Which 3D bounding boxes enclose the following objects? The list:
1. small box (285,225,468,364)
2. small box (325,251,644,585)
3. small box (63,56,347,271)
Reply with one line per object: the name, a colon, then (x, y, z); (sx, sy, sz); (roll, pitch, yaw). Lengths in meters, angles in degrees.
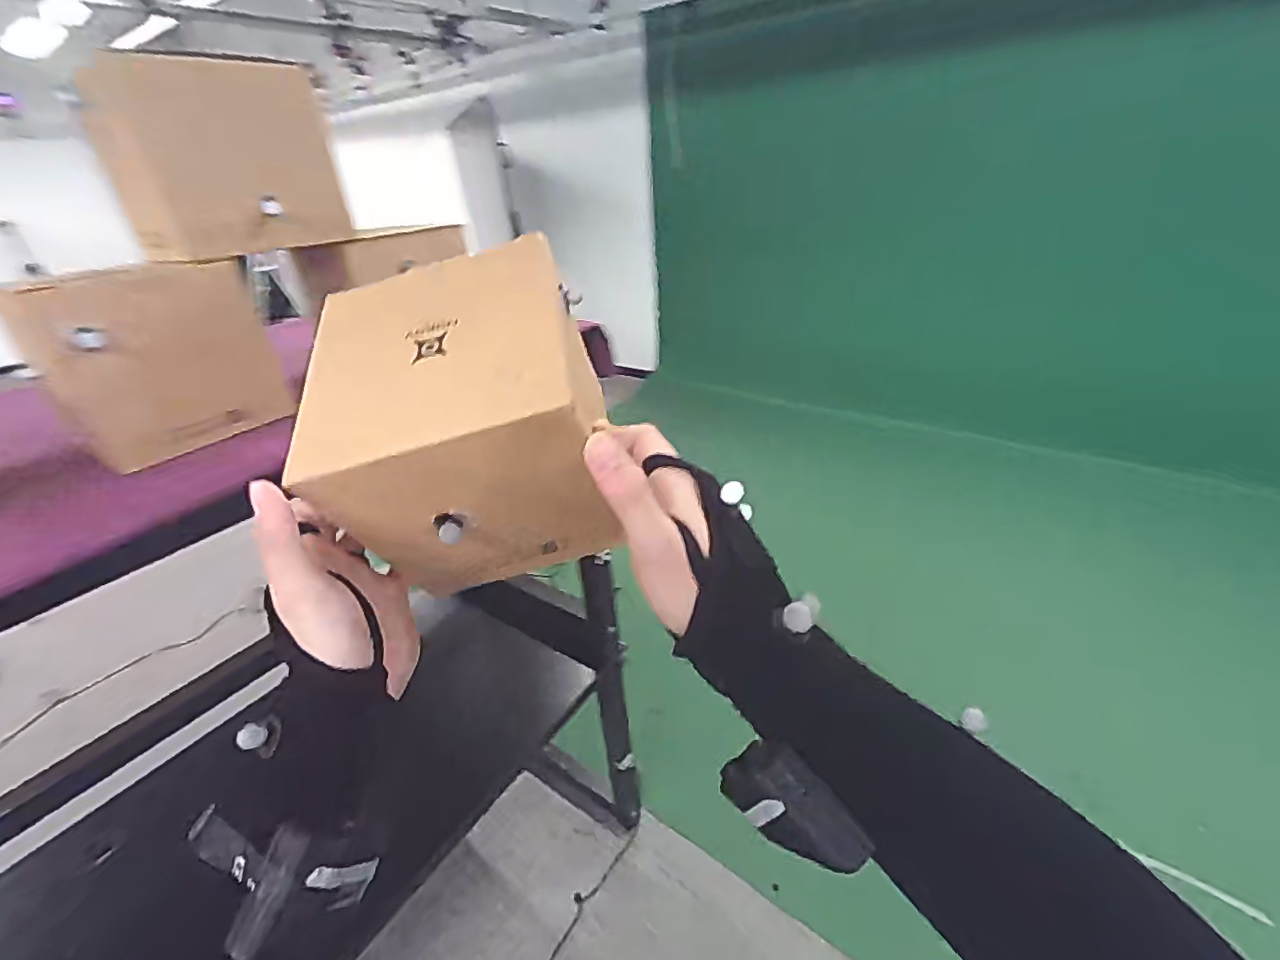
small box: (-0.350, -0.257, 0.767); (0.168, 0.176, 0.179); (16, 36, 32)
small box: (-0.102, -0.035, 0.417); (0.168, 0.176, 0.179); (-16, 54, 3)
small box: (-0.448, -0.331, 0.584); (0.168, 0.176, 0.179); (17, 36, 34)
